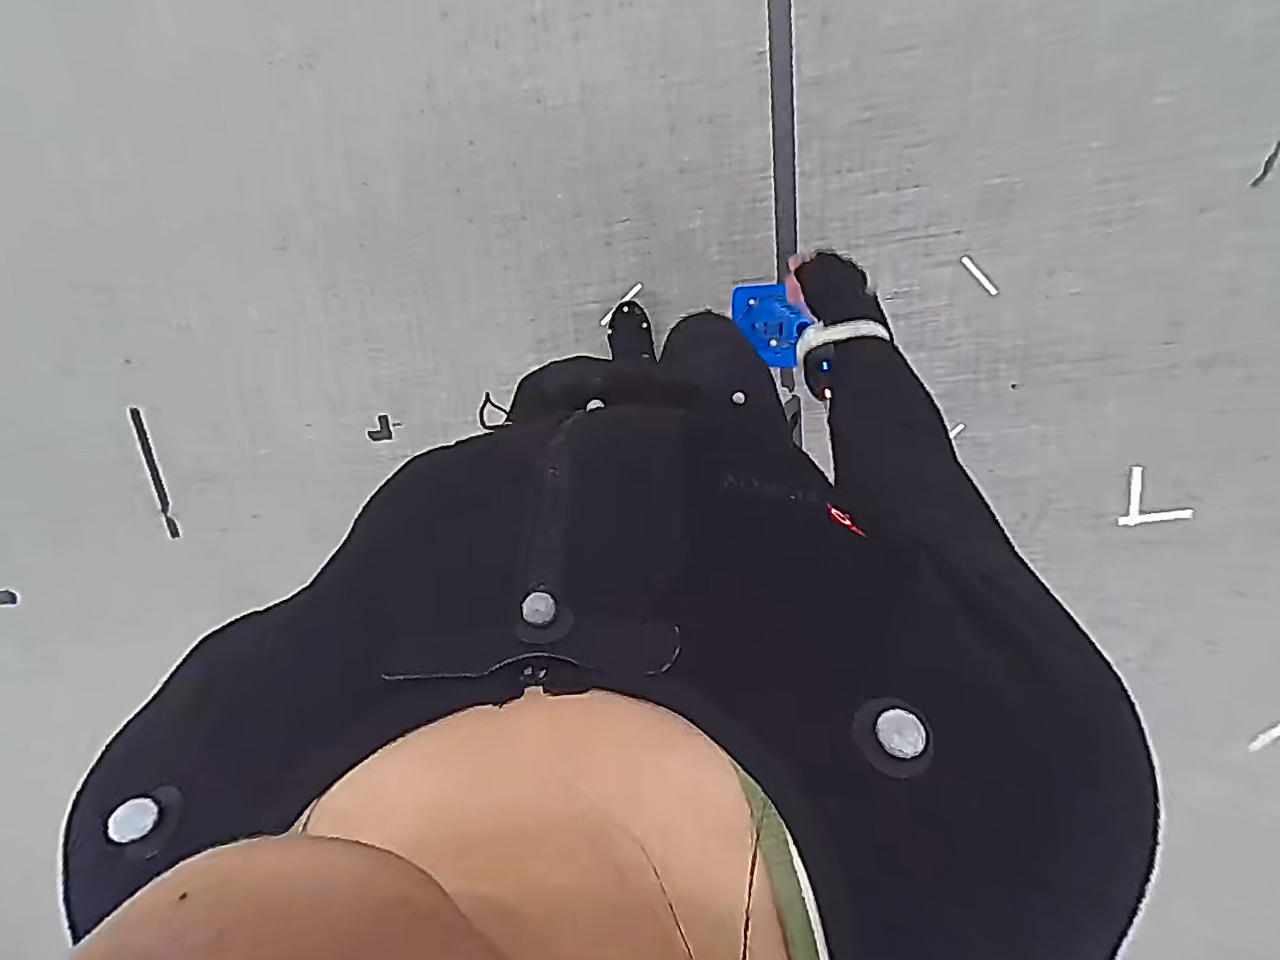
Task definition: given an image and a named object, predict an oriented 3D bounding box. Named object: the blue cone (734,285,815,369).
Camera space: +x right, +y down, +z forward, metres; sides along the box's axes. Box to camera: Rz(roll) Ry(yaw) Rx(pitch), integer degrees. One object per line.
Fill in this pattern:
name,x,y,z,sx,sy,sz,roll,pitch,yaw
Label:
blue cone,0.316,-0.326,1.171,0.193,0.380,0.192,-2,106,6
